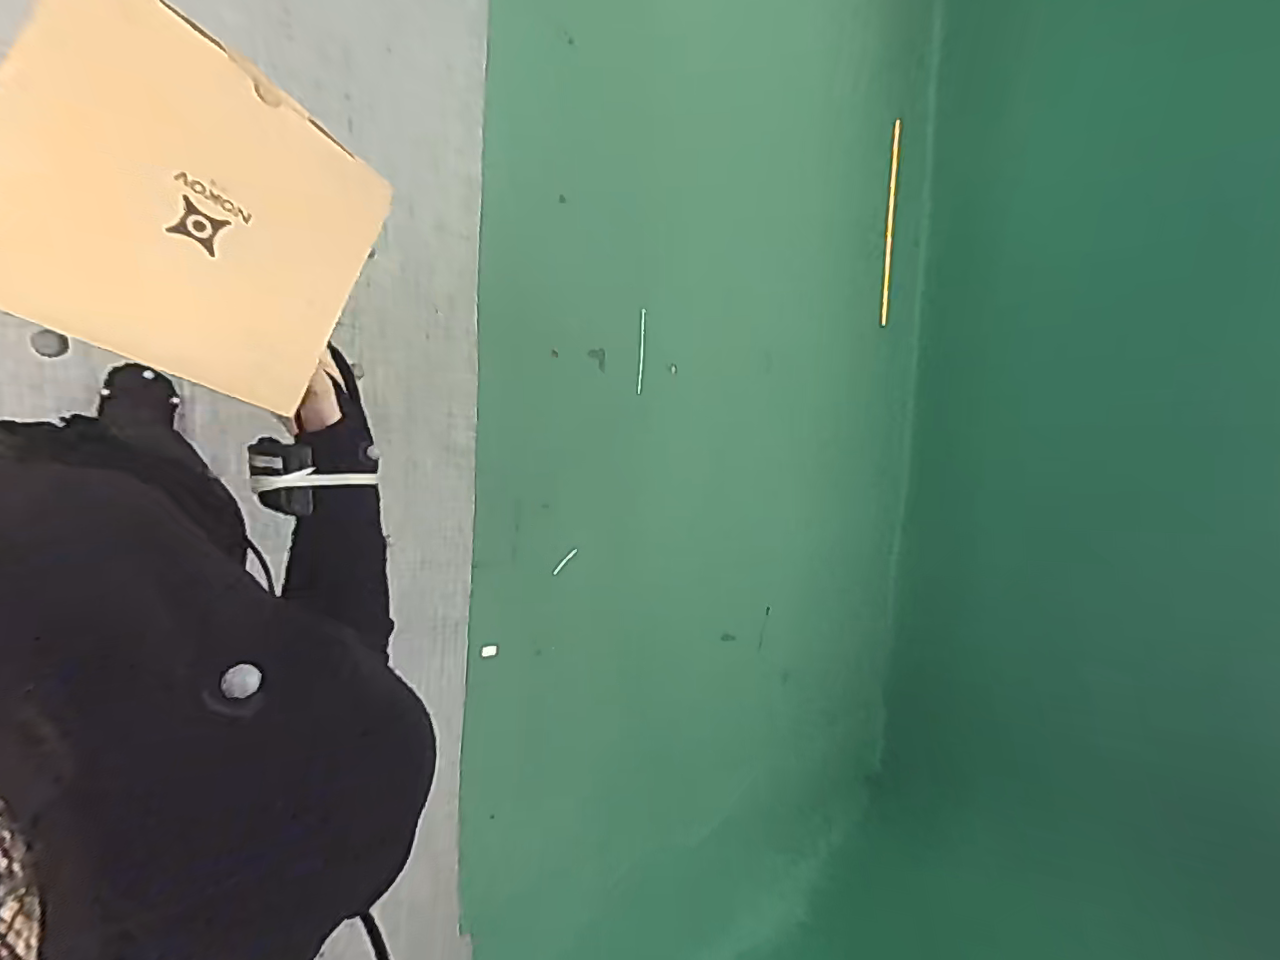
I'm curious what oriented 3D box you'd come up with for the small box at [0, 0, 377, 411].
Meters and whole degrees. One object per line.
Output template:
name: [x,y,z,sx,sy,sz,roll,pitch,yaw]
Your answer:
small box: [-0.313,-0.165,0.343,0.168,0.176,0.179,29,79,-54]
